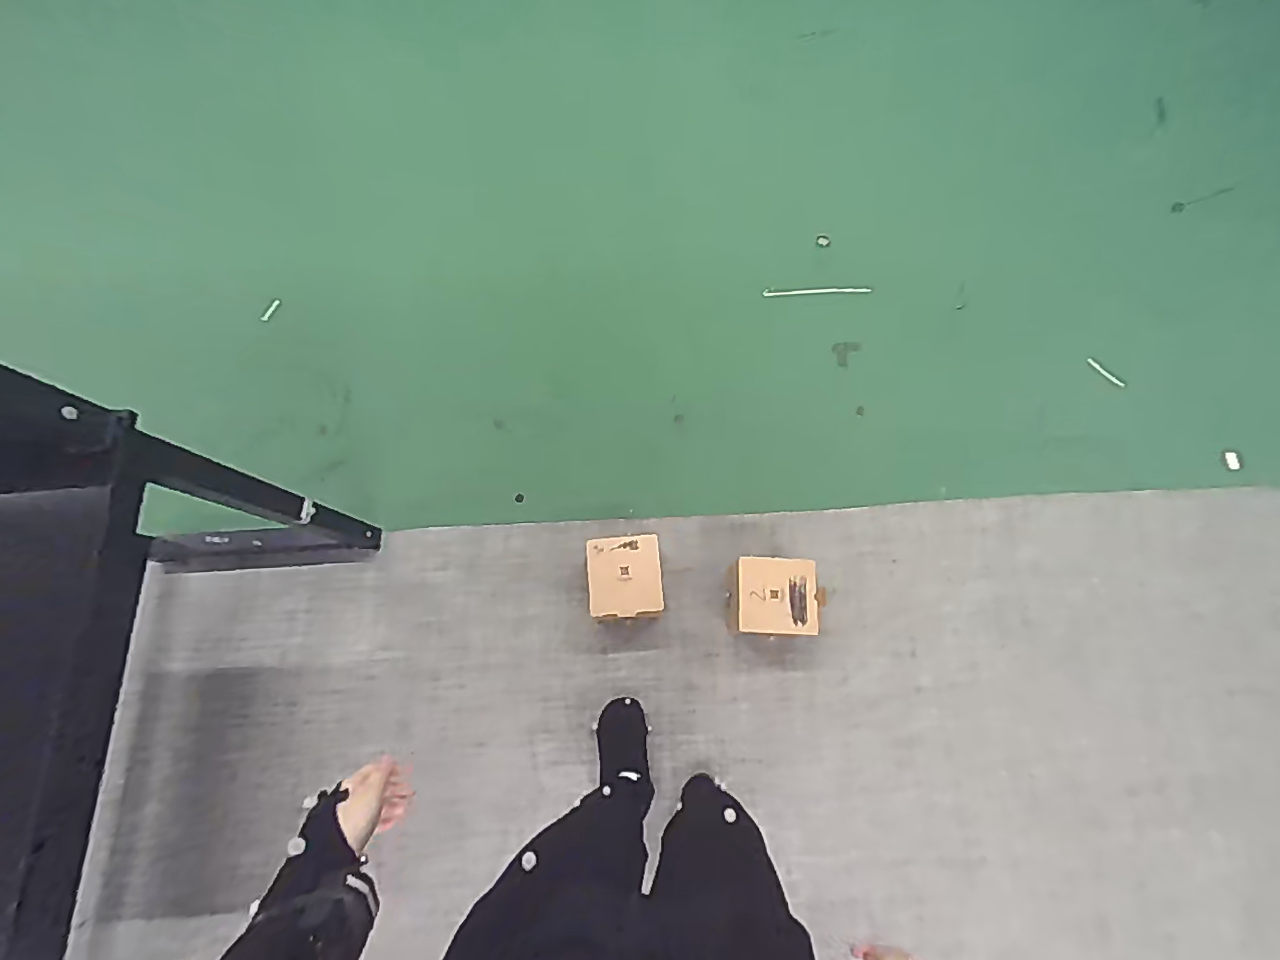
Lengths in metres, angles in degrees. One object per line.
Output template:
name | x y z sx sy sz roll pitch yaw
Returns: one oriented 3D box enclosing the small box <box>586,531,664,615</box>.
small box | -0.032 0.225 1.275 0.168 0.176 0.179 -5 74 0
